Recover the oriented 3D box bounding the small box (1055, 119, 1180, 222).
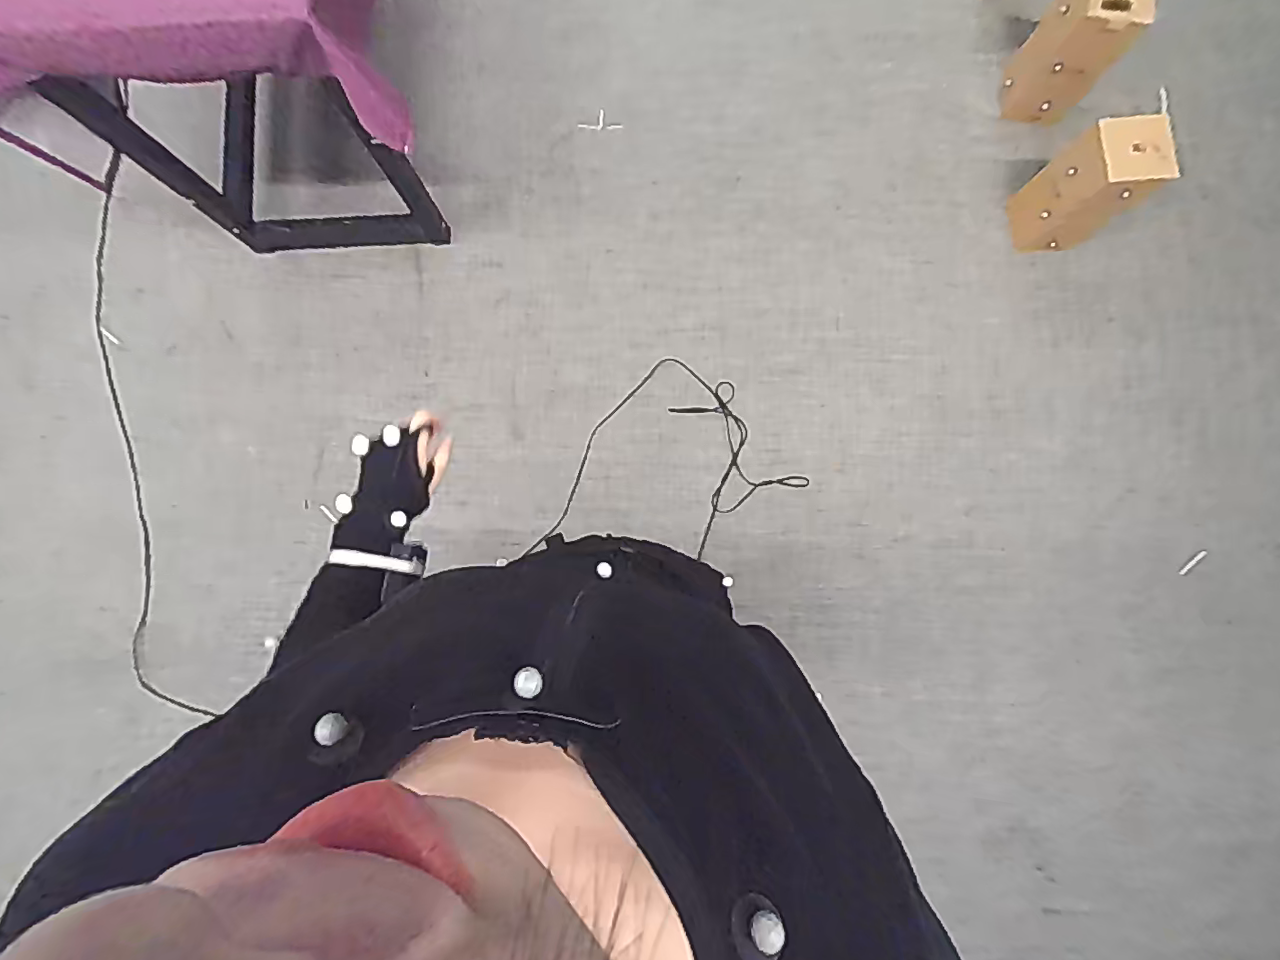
[{"bbox_3d":[1.202,-0.782,1.380,0.179,0.176,0.168,-4,85,-1],"label":"small box"}]

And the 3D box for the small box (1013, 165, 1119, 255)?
[{"bbox_3d":[1.206,-0.769,1.545,0.168,0.176,0.179,-4,85,-1],"label":"small box"}]

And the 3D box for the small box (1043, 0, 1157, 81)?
[{"bbox_3d":[1.203,-1.199,1.422,0.168,0.176,0.179,9,83,0],"label":"small box"}]

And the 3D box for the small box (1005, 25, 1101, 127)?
[{"bbox_3d":[1.209,-1.181,1.587,0.168,0.176,0.179,8,85,0],"label":"small box"}]
